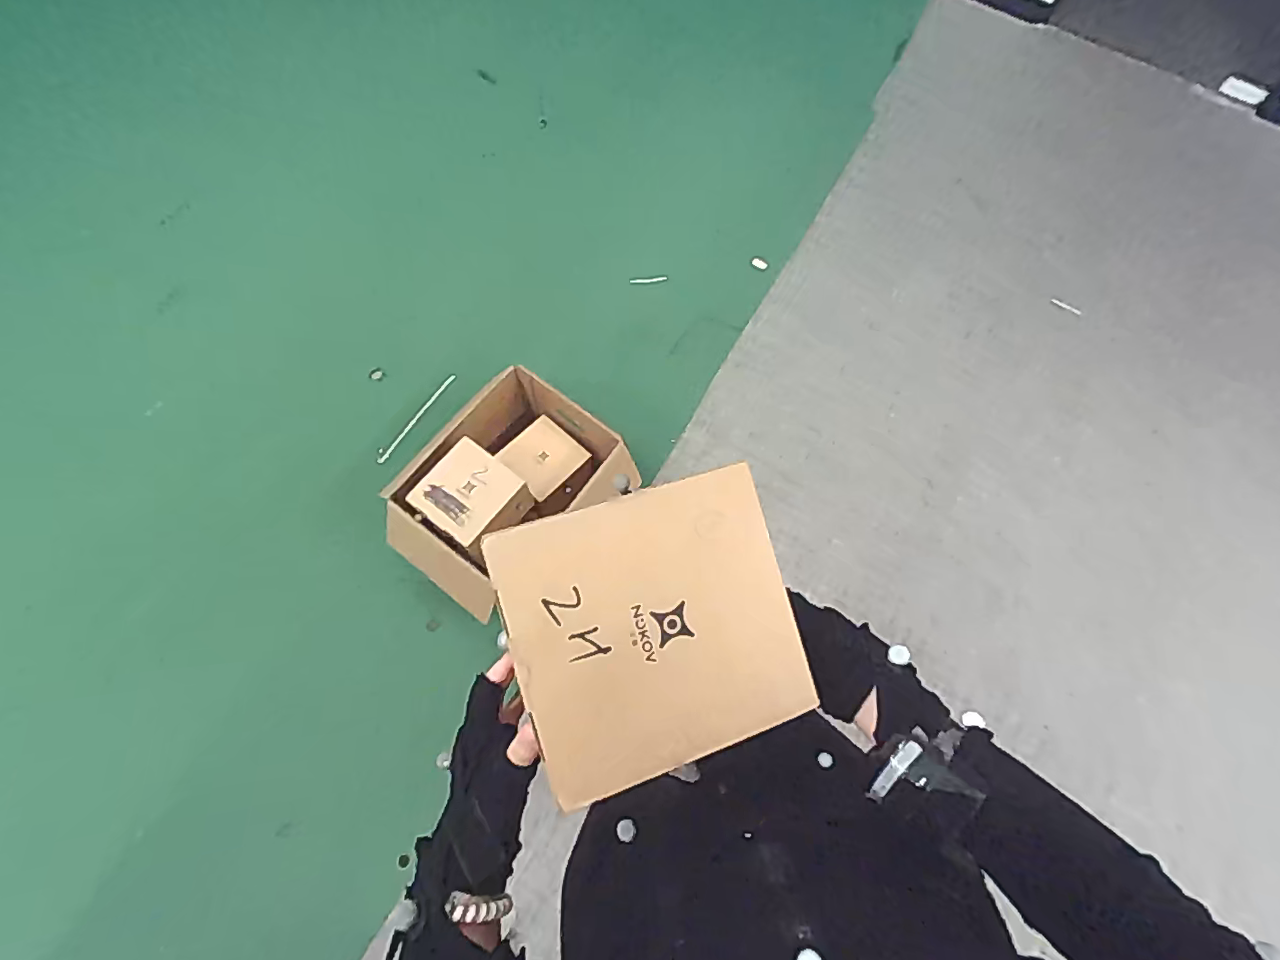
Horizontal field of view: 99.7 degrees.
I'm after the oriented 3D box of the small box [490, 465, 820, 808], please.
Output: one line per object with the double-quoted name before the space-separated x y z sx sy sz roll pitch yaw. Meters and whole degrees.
"small box" -0.003 0.093 0.404 0.179 0.176 0.168 -16 88 -12
